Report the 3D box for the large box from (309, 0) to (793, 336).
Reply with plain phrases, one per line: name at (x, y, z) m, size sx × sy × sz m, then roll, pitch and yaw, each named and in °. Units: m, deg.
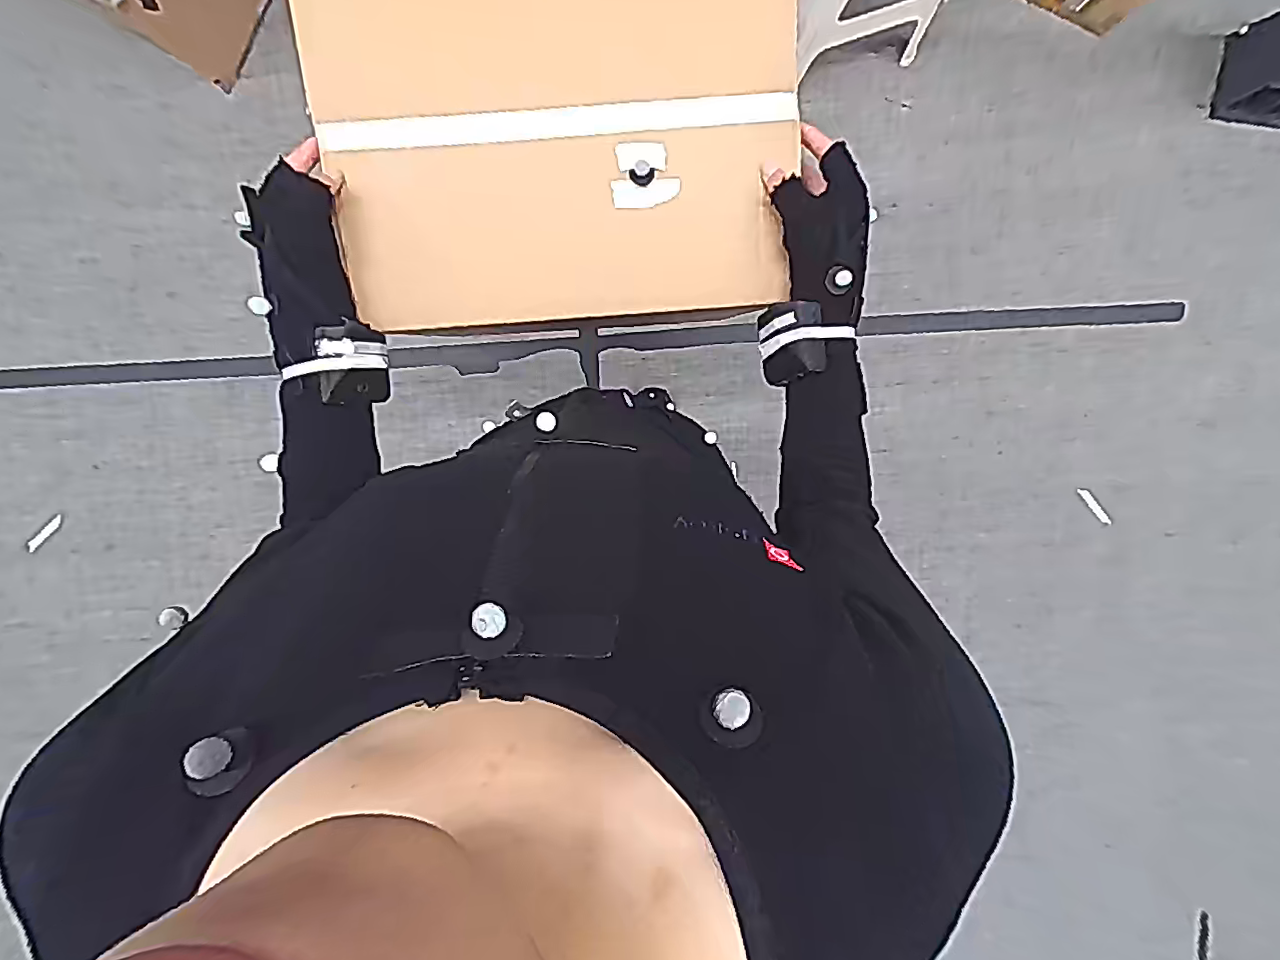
large box at (-0.073, -0.343, 0.614) m, size 0.408 × 0.320 × 0.320 m, roll -5°, pitch 104°, yaw -2°
